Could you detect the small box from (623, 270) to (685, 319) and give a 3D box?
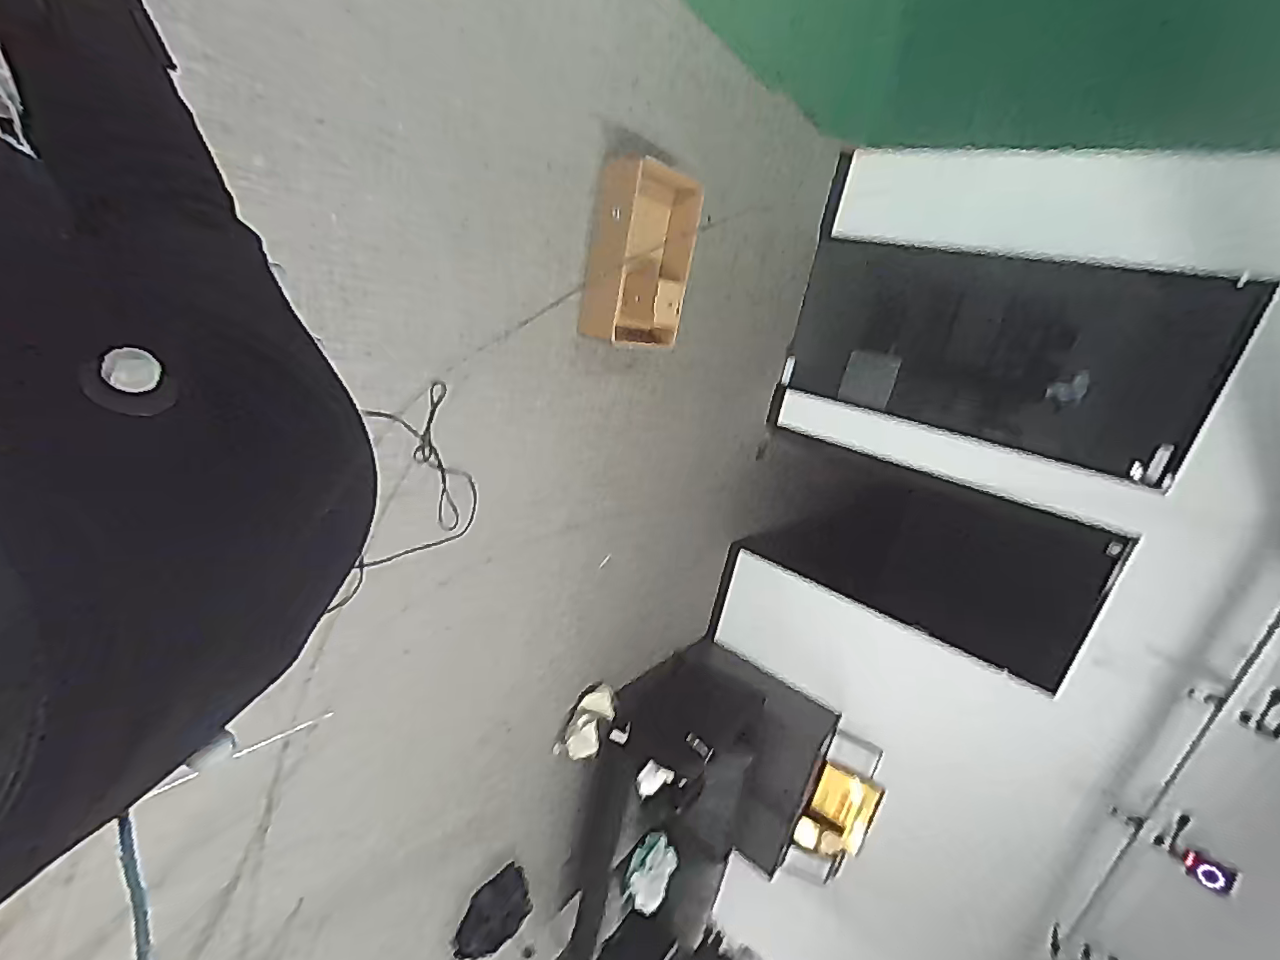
[{"bbox_3d":[0.051,-0.730,2.127,0.179,0.176,0.168,-20,124,-49],"label":"small box"}]
